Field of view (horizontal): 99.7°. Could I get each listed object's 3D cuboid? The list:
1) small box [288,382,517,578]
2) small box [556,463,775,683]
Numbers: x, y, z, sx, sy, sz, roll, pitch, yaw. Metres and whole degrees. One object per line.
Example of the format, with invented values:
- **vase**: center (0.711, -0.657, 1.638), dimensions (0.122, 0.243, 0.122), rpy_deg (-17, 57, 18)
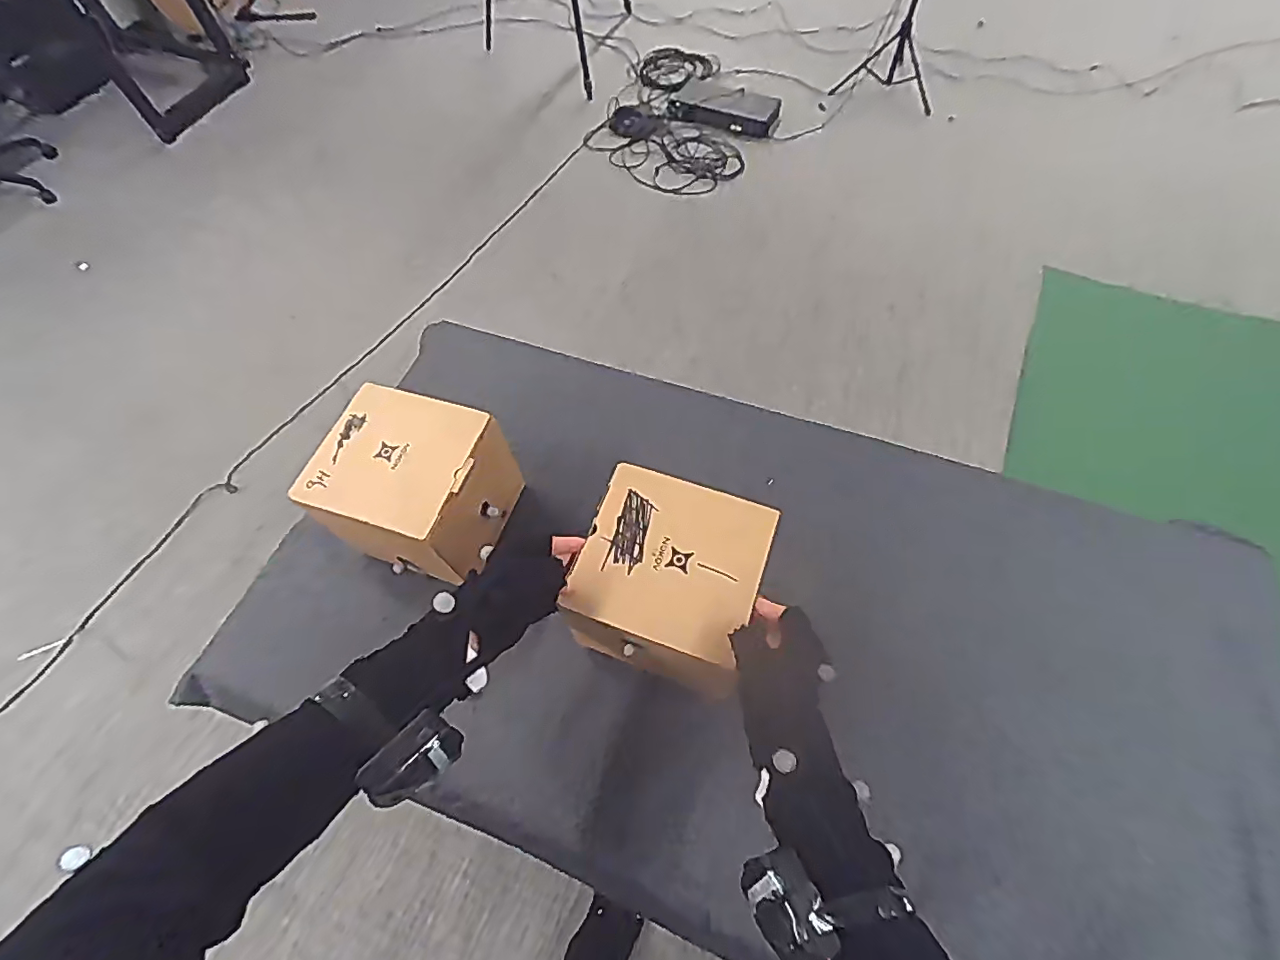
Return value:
- **small box**: center (-0.275, 0.009, 0.678), dimensions (0.179, 0.176, 0.168), rpy_deg (16, 64, 9)
- **small box**: center (0.030, 0.110, 0.598), dimensions (0.179, 0.176, 0.168), rpy_deg (18, 64, 11)
